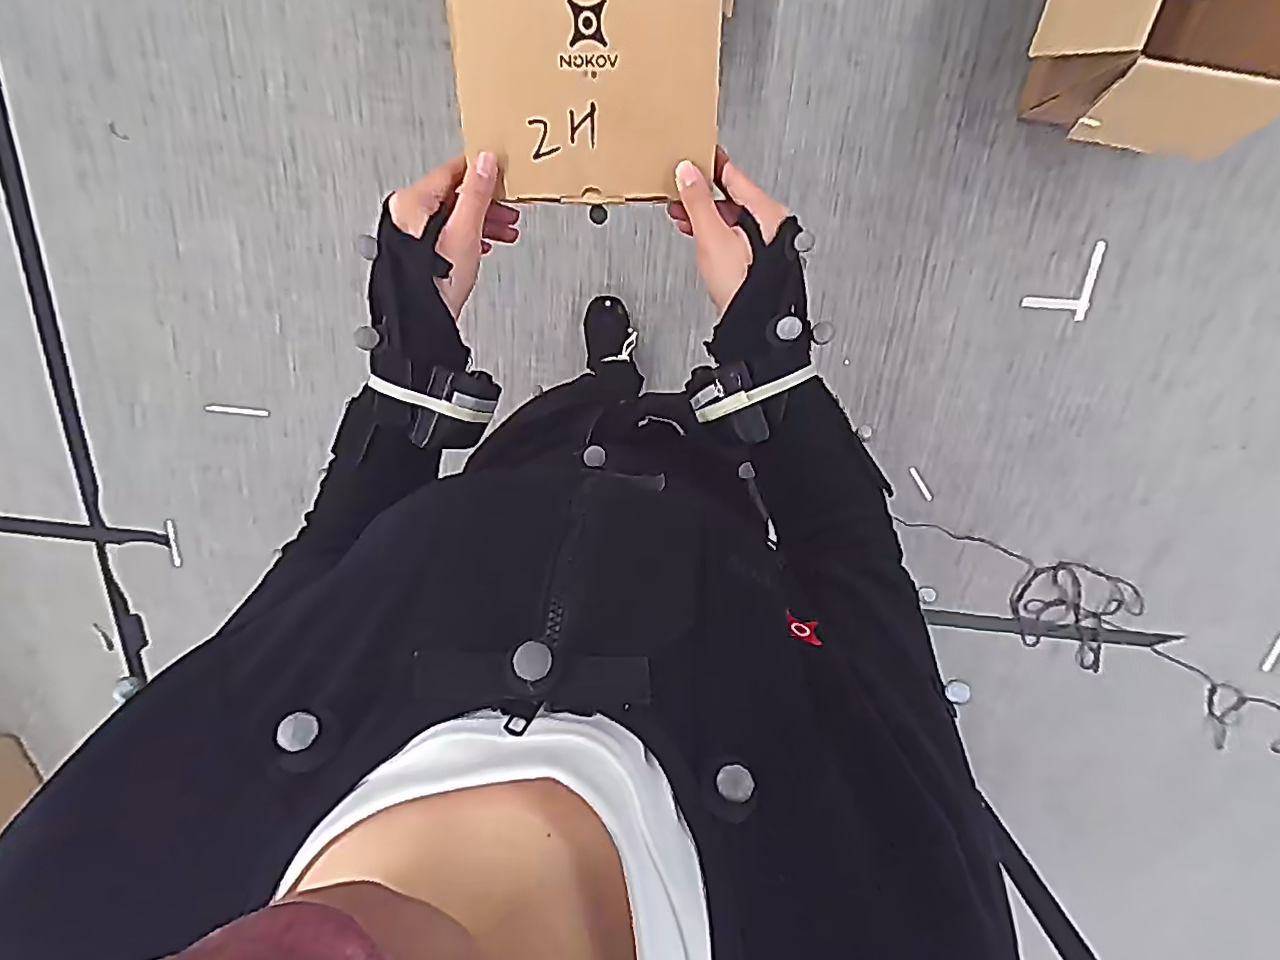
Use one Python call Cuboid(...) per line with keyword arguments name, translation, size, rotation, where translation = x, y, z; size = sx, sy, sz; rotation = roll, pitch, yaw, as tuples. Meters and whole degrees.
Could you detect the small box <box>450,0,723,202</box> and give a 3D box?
Cuboid(name="small box", translation=(-0.035, -0.308, 0.400), size=(0.168, 0.176, 0.179), rotation=(-1, 116, -1))
